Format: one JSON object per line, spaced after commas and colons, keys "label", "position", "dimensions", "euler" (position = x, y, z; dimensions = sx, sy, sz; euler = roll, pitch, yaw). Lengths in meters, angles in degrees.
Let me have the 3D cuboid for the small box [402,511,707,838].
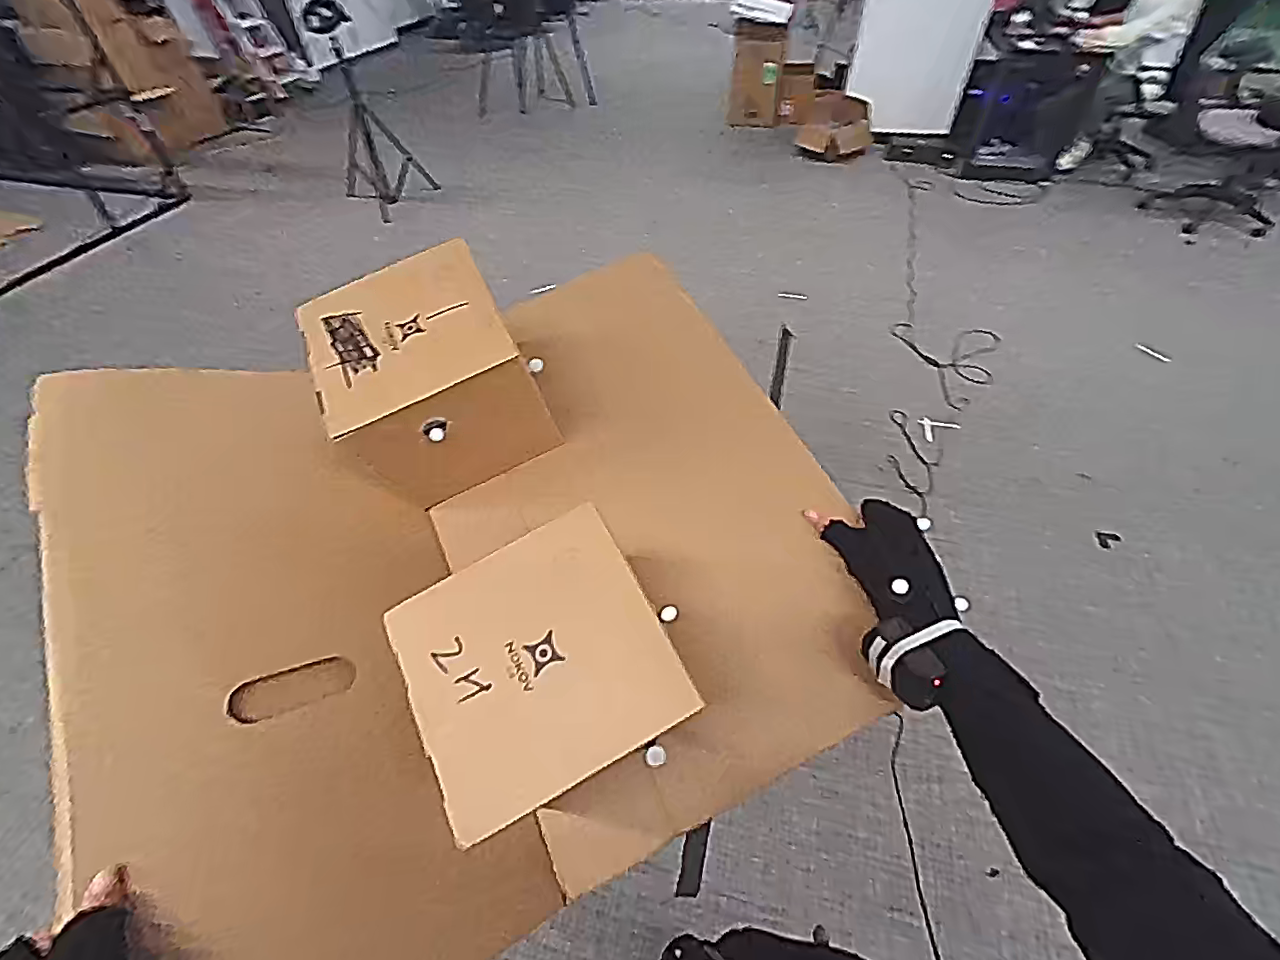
{"label": "small box", "position": [-0.058, 0.155, 0.453], "dimensions": [0.179, 0.176, 0.168], "euler": [-28, 66, -4]}
